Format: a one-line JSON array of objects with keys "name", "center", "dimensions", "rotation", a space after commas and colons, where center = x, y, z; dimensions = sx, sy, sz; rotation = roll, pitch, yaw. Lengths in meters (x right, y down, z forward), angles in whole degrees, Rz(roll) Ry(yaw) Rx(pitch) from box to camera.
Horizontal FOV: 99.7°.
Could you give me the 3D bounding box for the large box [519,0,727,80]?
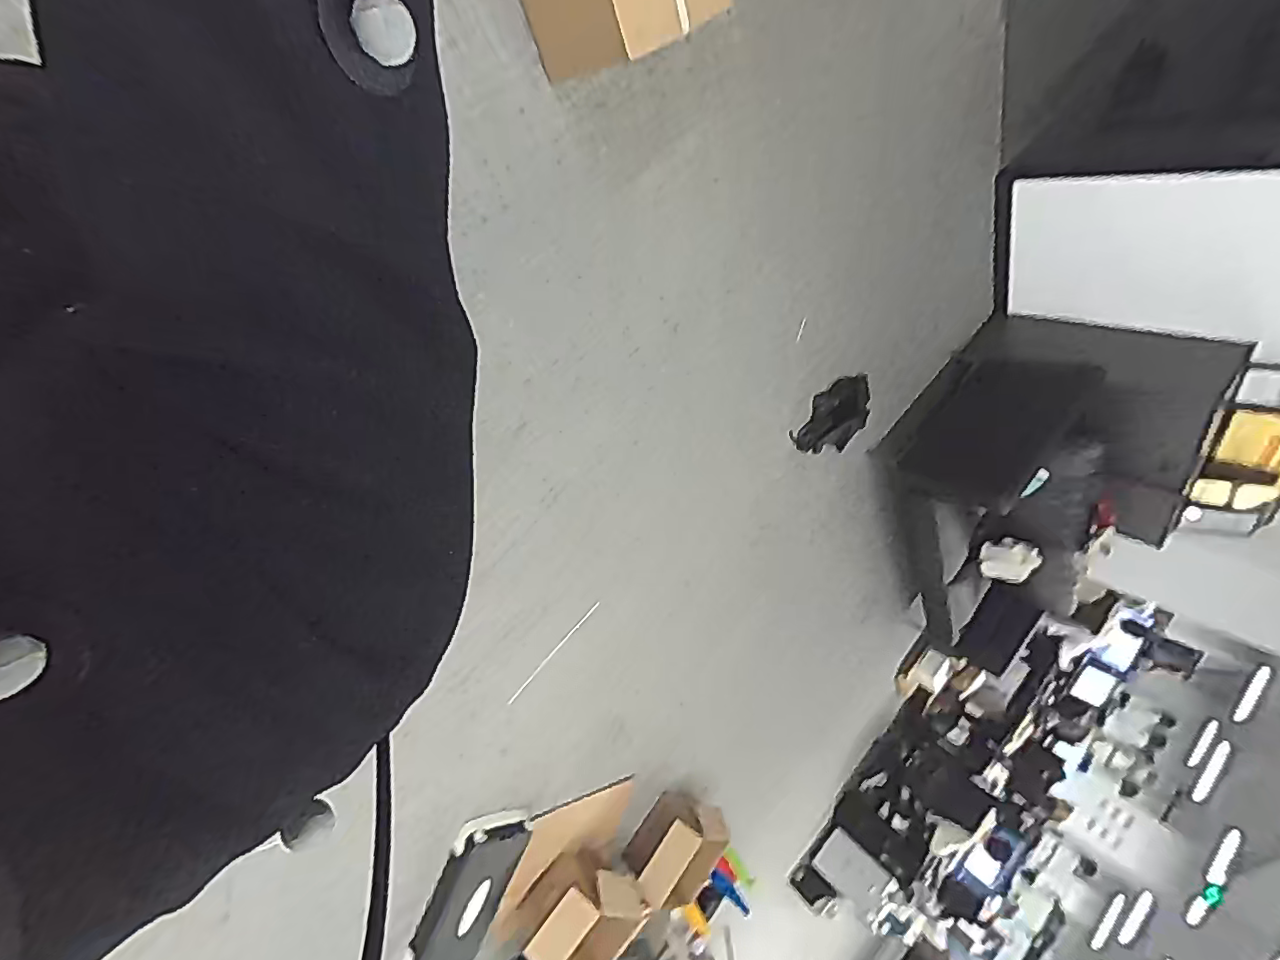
[{"name": "large box", "center": [-0.079, -1.109, 1.079], "dimensions": [0.320, 0.320, 0.408], "rotation": [-41, 134, -18]}]
